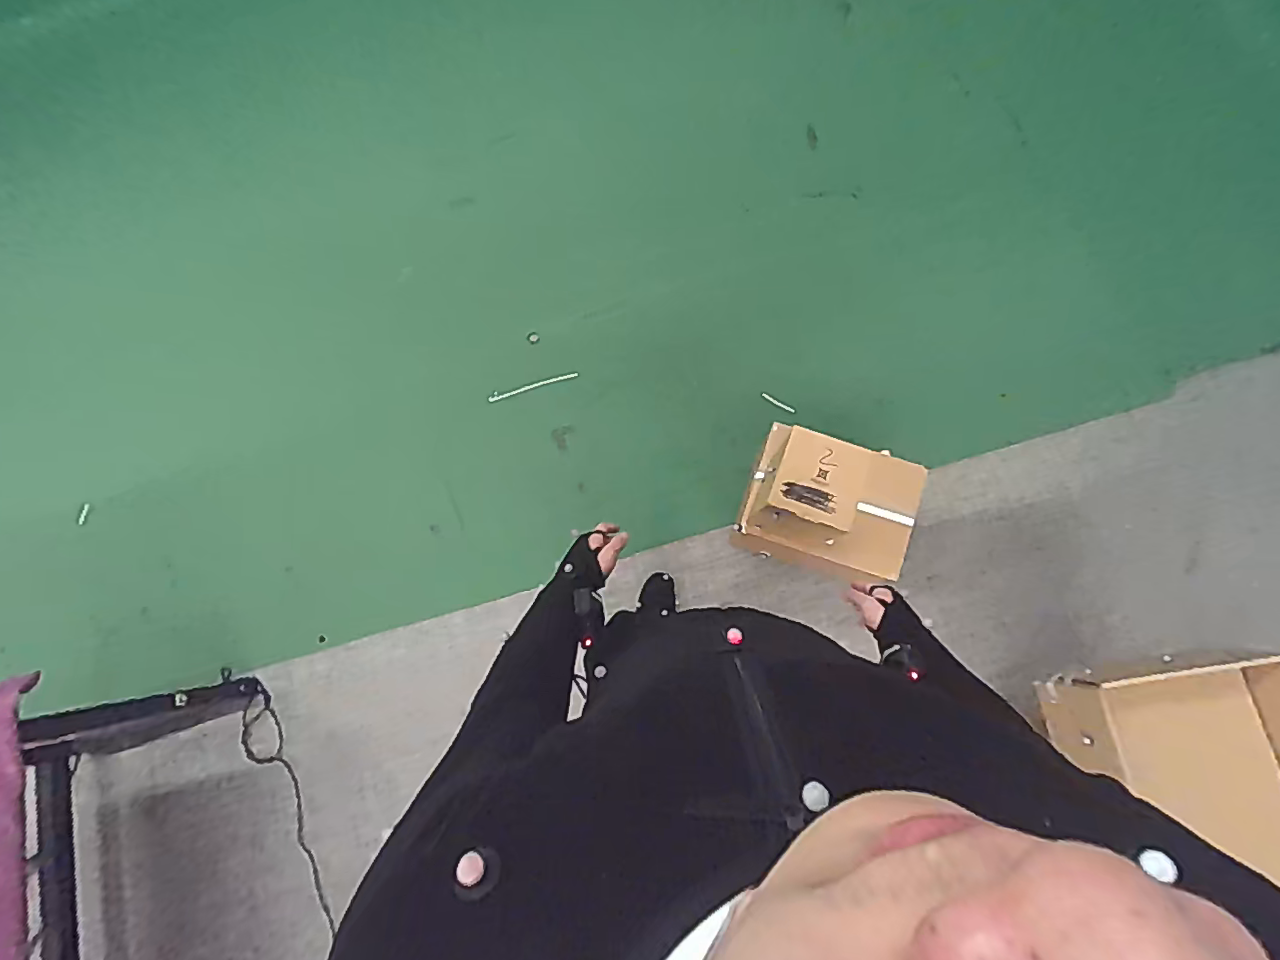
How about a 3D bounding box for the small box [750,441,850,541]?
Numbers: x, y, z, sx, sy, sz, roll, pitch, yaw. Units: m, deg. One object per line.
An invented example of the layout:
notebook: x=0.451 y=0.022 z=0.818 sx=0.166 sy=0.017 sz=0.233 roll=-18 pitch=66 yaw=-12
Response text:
small box: x=0.372 y=0.033 z=1.288 sx=0.168 sy=0.176 sz=0.179 roll=22 pitch=80 yaw=8
